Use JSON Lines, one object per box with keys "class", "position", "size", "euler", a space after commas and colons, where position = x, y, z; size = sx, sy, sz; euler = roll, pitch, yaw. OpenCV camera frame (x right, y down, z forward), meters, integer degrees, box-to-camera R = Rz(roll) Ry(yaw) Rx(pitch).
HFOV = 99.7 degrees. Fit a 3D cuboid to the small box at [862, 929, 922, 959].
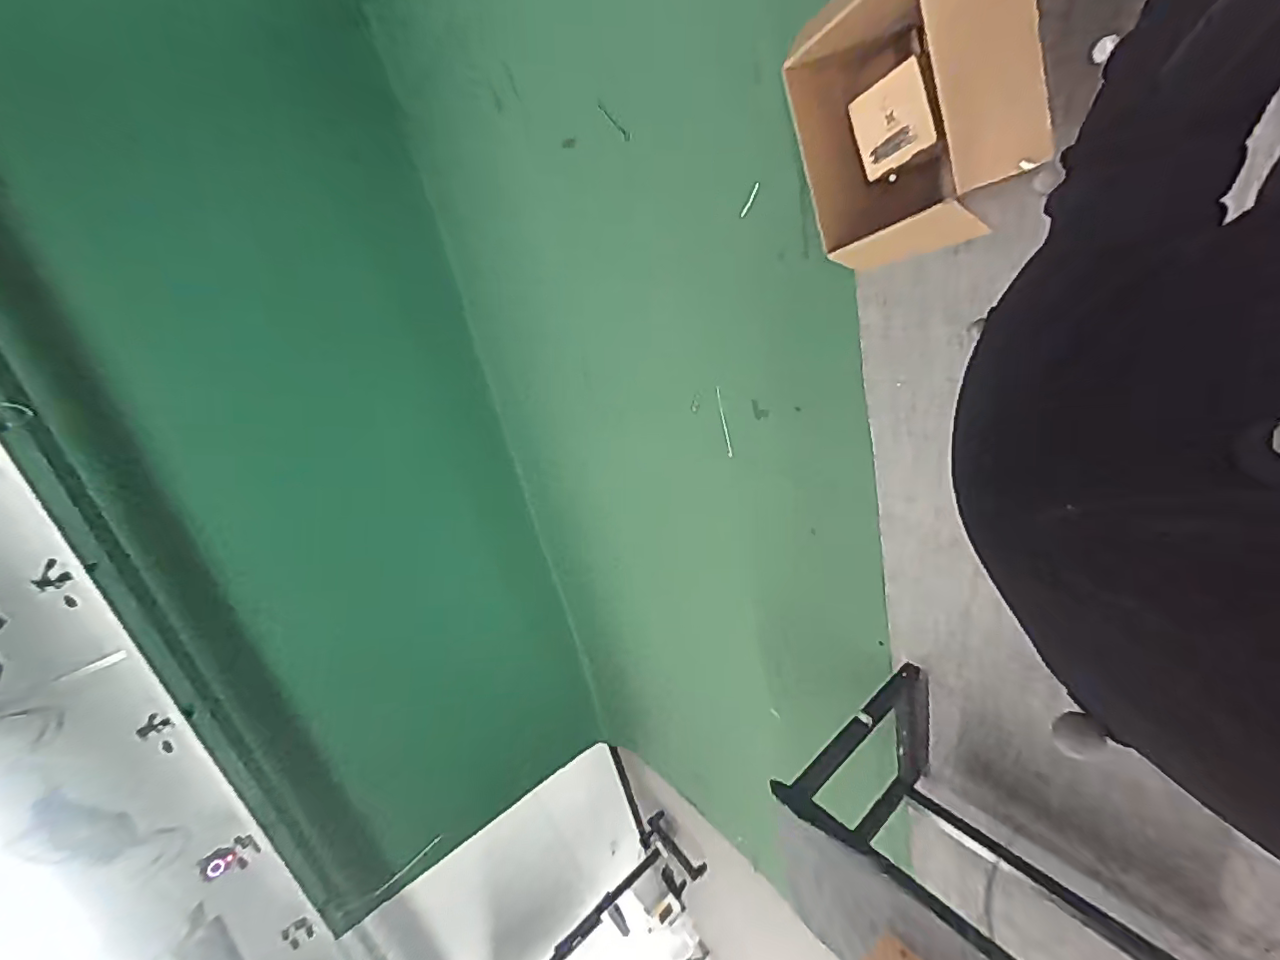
{"class": "small box", "position": [0.643, 1.292, 1.349], "size": [0.168, 0.176, 0.179], "euler": [23, 131, 48]}
